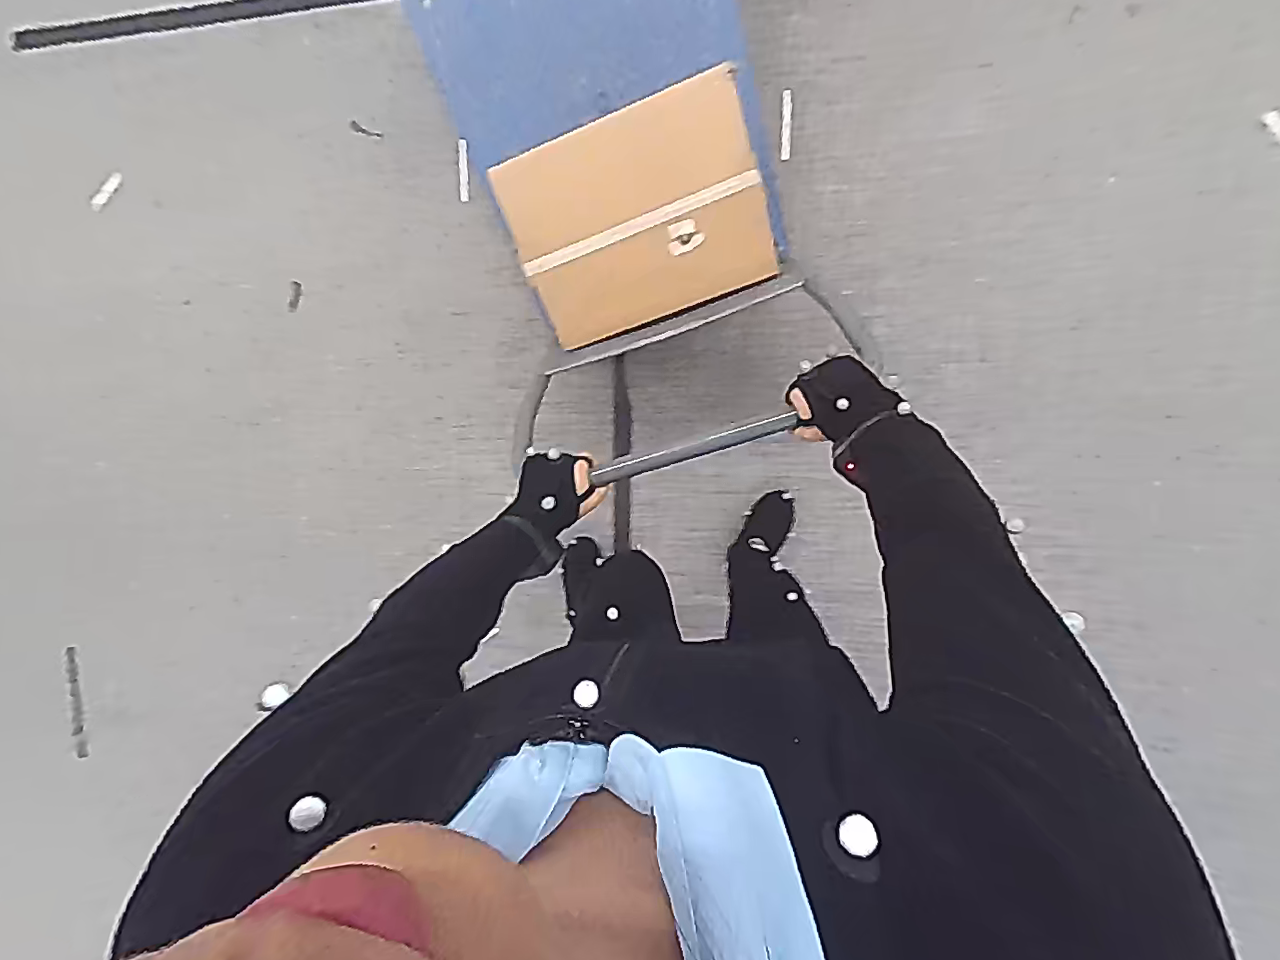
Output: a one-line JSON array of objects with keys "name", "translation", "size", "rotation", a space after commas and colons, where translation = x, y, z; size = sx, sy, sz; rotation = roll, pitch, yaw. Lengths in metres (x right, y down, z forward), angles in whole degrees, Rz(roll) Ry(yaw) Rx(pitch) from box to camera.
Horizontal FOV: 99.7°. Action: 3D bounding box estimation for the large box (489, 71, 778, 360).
[{"name": "large box", "translation": [-0.003, -0.471, 1.012], "size": [0.408, 0.320, 0.320], "rotation": [-18, 117, 10]}]
